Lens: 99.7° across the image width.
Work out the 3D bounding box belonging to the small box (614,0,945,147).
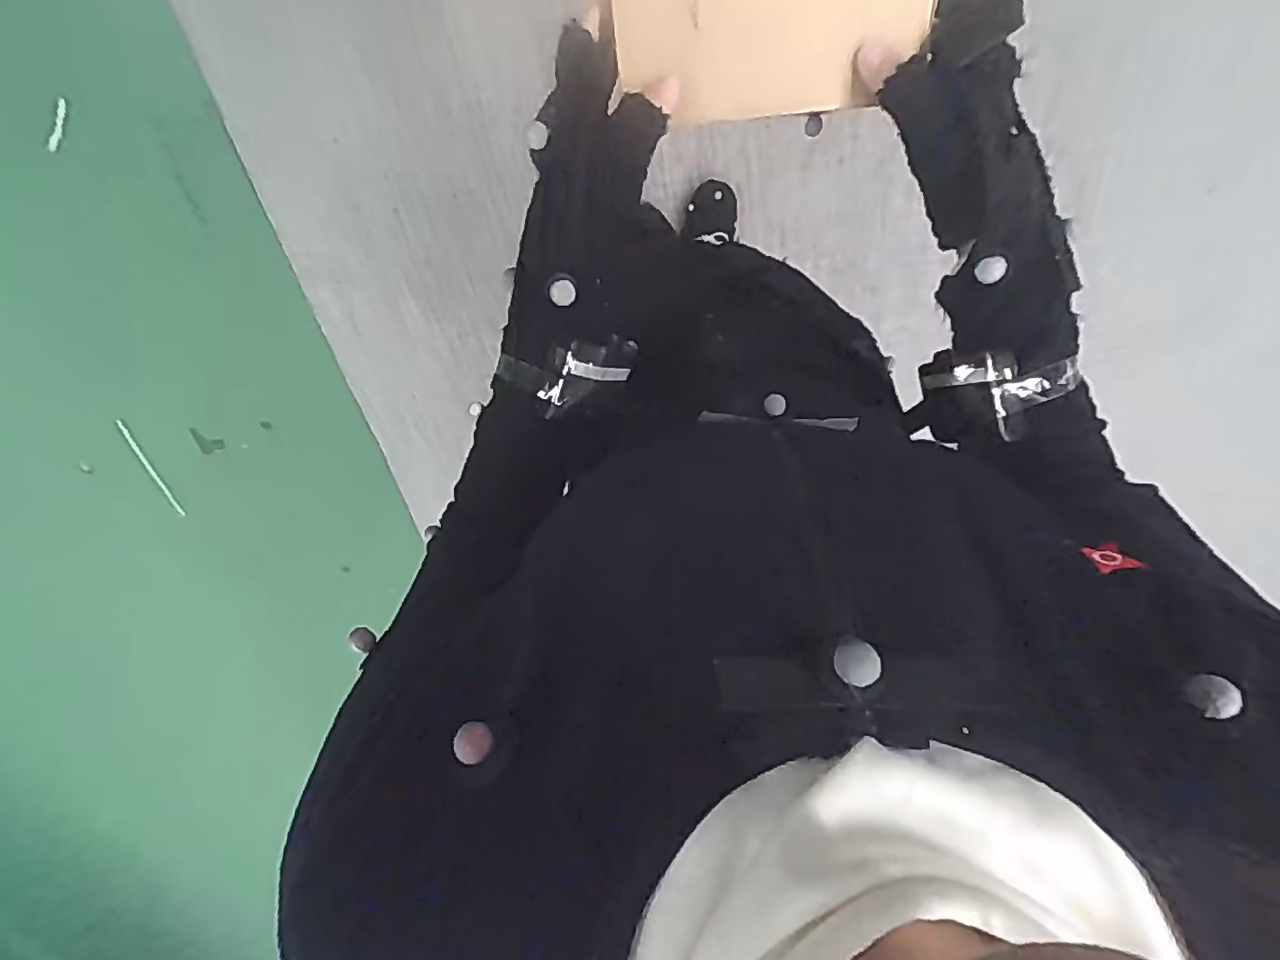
[{"bbox_3d":[0.070,-0.322,0.336,0.179,0.176,0.168,-8,124,6],"label":"small box"}]
